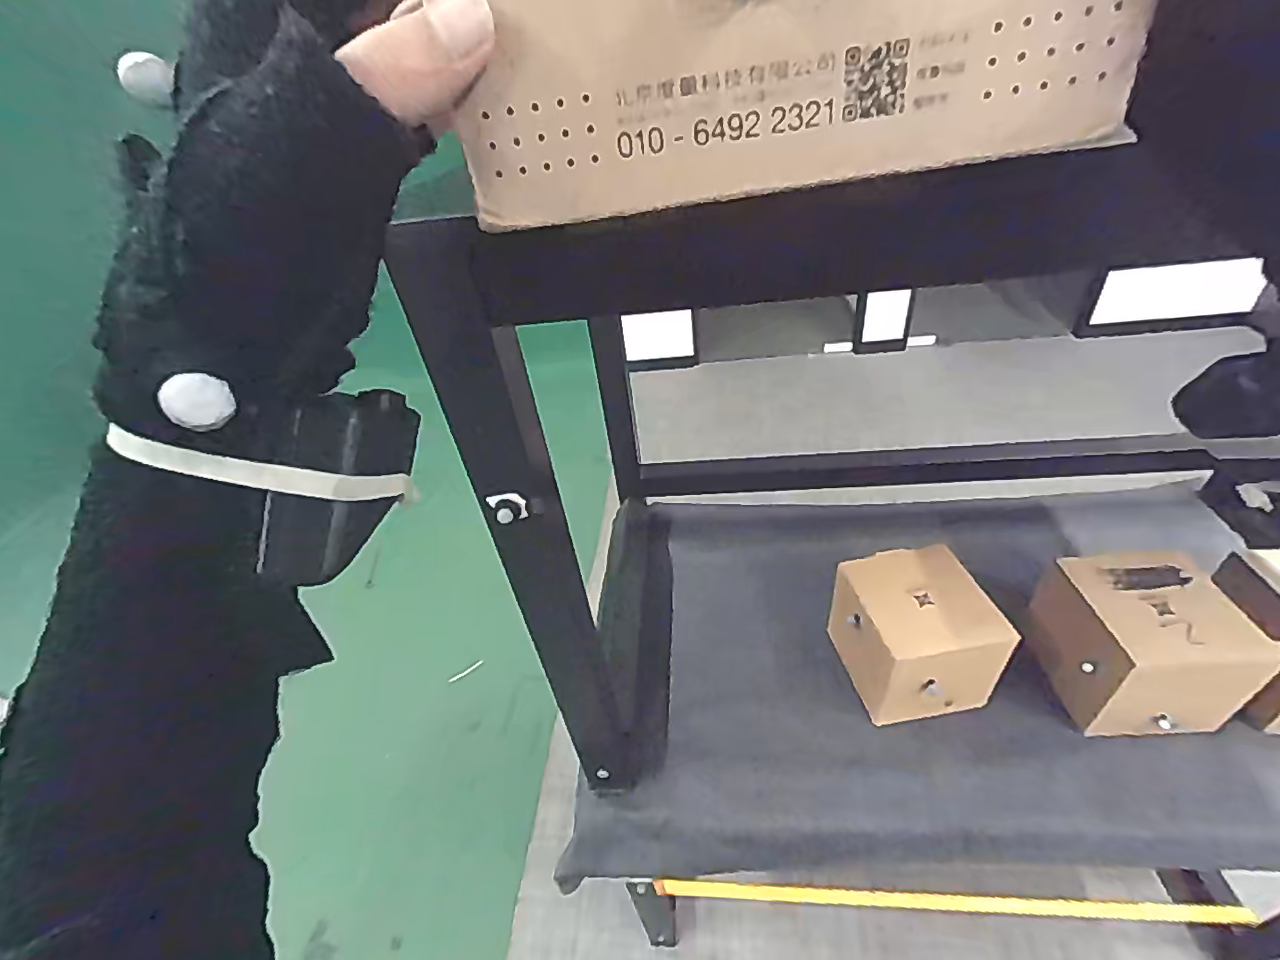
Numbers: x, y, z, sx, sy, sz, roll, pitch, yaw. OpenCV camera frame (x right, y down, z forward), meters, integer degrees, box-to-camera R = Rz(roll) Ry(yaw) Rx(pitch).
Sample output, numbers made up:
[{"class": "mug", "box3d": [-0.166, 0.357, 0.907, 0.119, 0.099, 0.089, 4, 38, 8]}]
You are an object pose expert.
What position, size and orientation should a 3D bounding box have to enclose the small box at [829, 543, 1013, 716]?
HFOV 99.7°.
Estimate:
[{"class": "small box", "box3d": [0.393, 0.224, 0.794, 0.168, 0.176, 0.179, -10, 37, -2]}]
